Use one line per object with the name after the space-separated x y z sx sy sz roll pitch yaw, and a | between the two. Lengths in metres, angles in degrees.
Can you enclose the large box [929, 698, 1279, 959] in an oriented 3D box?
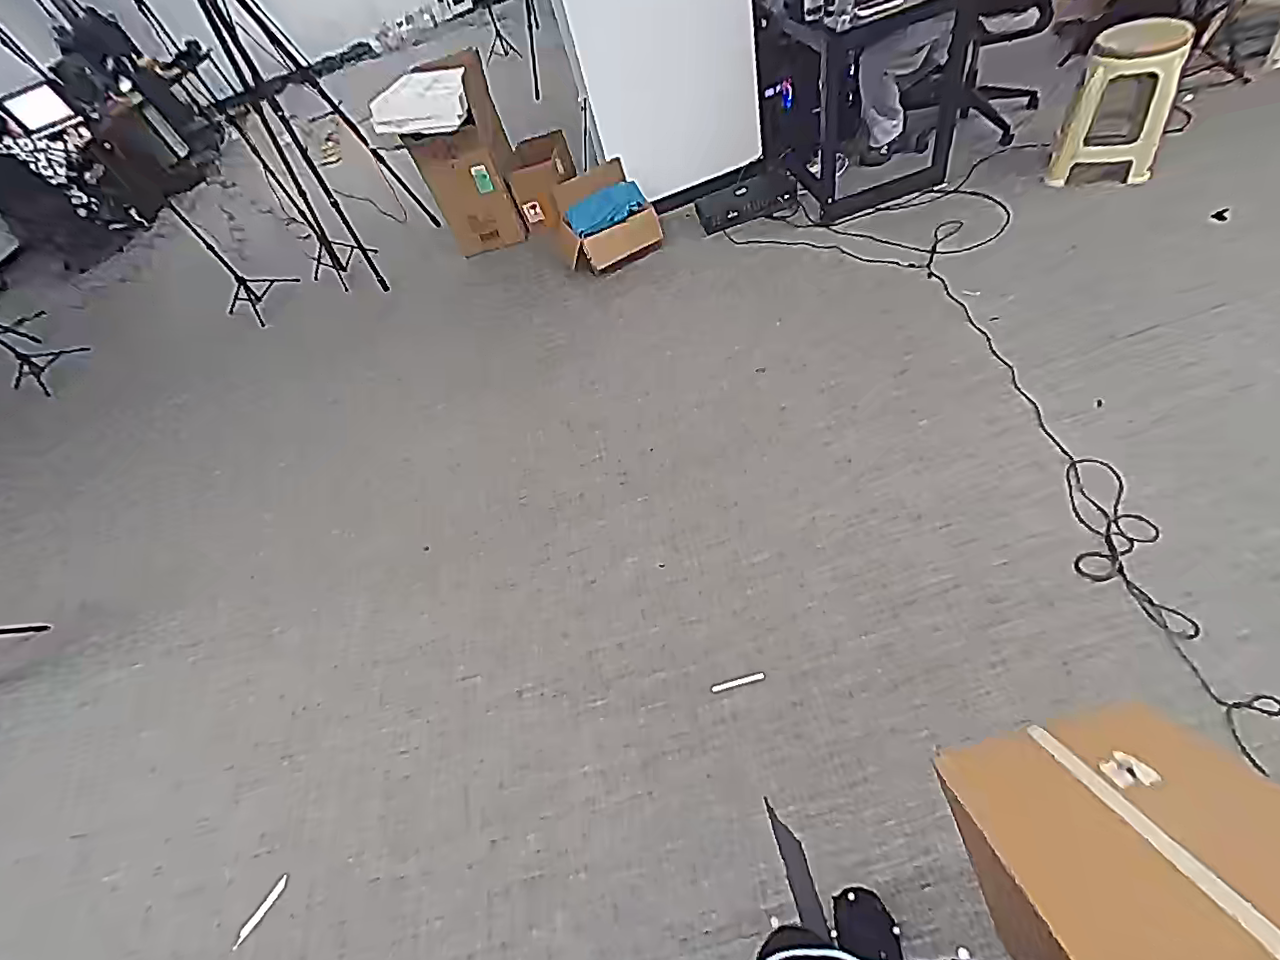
0.637 0.541 0.652 0.320 0.408 0.320 -21 92 7 | large box
